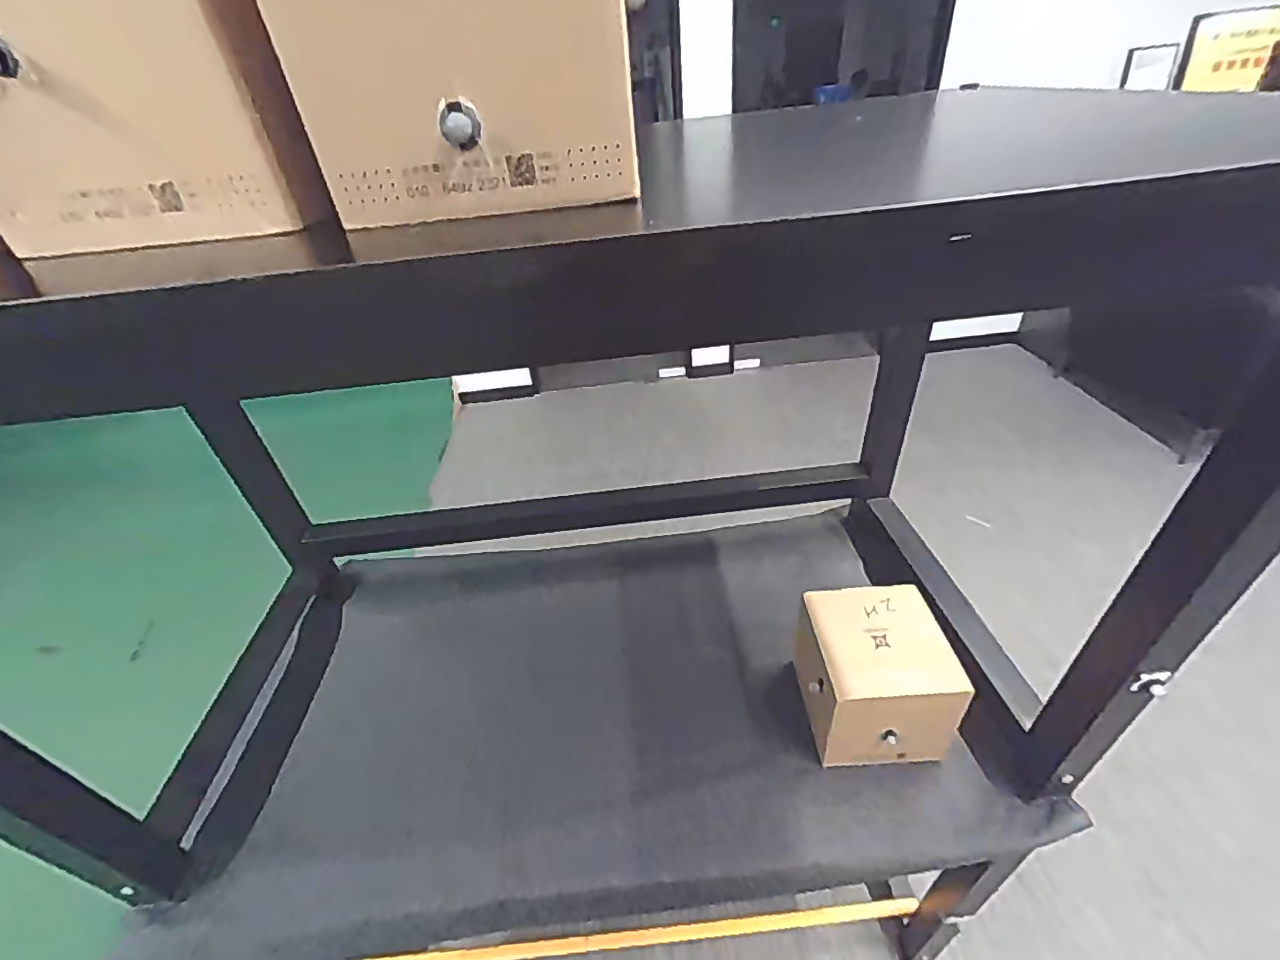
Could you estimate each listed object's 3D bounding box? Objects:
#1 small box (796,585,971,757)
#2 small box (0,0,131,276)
[{"bbox_3d":[0.327,0.274,0.768,0.168,0.176,0.179,-4,36,2],"label":"small box"},{"bbox_3d":[-0.480,-0.220,0.329,0.168,0.176,0.179,-6,38,1],"label":"small box"}]
